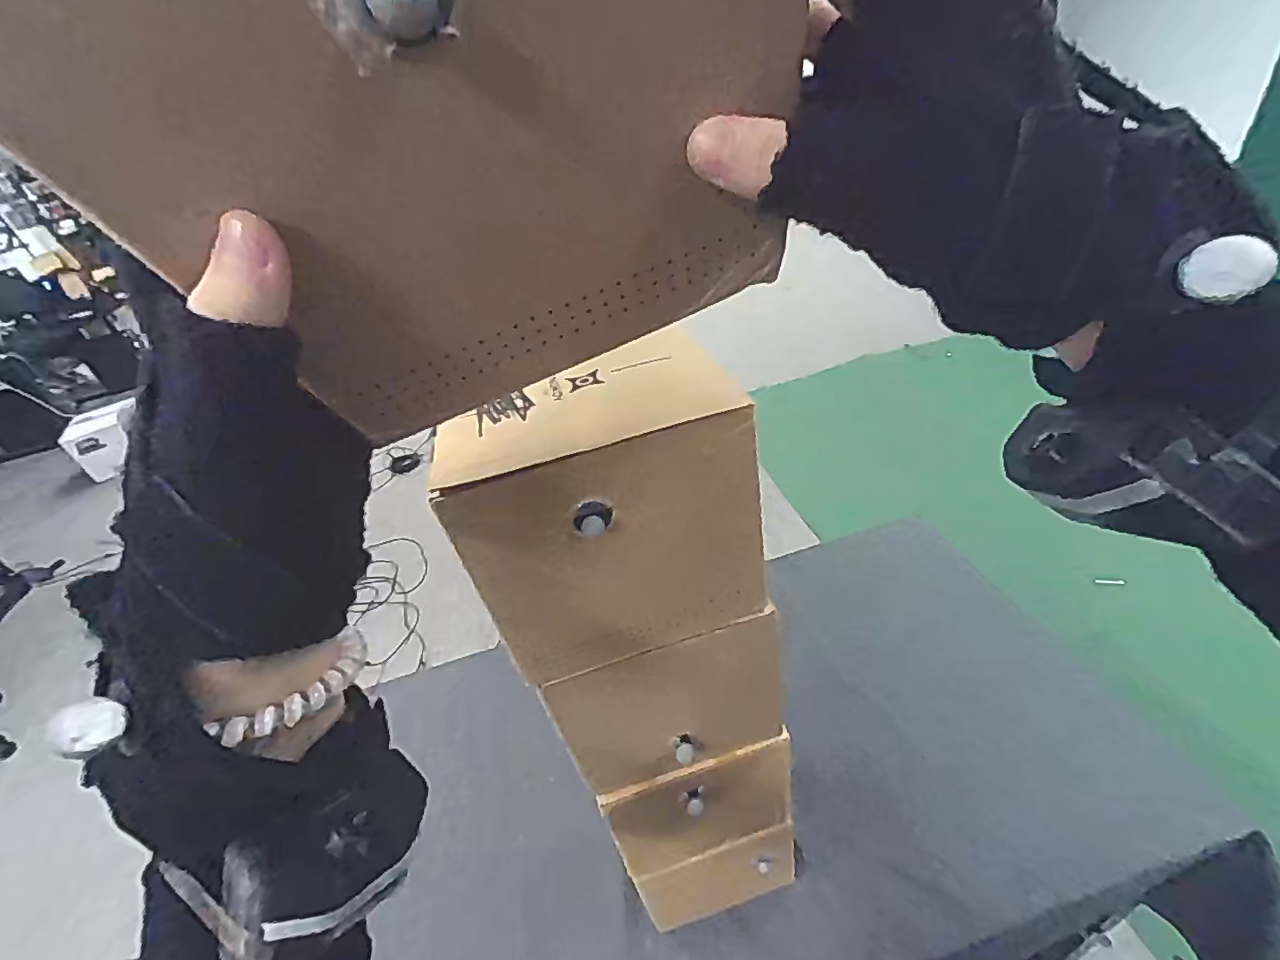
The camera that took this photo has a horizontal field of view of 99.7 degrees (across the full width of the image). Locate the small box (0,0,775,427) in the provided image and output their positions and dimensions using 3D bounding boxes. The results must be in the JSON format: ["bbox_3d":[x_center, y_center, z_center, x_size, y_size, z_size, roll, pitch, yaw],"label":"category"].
[{"bbox_3d":[-0.063,-0.144,0.182,0.179,0.176,0.168,-22,63,0],"label":"small box"}]

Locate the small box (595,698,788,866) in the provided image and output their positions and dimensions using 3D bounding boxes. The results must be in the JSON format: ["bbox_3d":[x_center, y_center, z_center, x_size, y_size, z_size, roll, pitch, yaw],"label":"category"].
[{"bbox_3d":[0.041,0.268,0.576,0.179,0.176,0.168,-17,36,-6],"label":"small box"}]

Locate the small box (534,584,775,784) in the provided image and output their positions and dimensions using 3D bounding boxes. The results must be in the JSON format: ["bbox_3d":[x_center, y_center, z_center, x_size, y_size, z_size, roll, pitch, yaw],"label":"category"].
[{"bbox_3d":[0.008,0.136,0.486,0.179,0.176,0.168,-15,36,-4],"label":"small box"}]

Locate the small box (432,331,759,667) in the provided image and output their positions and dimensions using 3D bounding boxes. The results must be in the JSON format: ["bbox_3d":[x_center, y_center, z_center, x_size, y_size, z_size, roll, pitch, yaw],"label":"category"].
[{"bbox_3d":[-0.027,0.004,0.391,0.179,0.176,0.168,-17,37,-6],"label":"small box"}]
